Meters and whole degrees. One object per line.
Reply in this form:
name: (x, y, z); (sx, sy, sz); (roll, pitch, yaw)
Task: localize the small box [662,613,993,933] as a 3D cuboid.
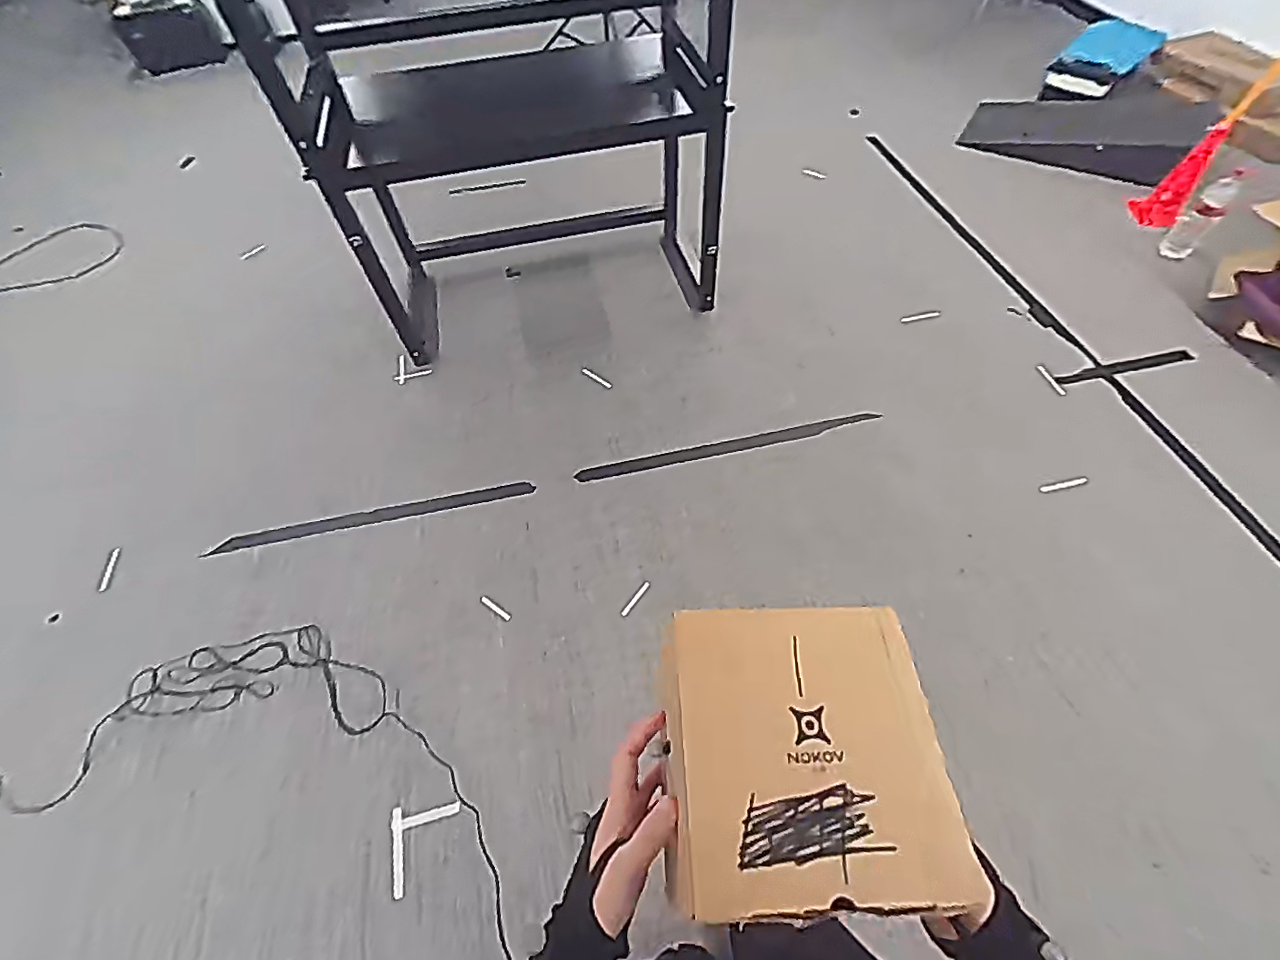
small box: (0.107, 0.213, 0.403); (0.168, 0.176, 0.179); (0, 54, -3)
